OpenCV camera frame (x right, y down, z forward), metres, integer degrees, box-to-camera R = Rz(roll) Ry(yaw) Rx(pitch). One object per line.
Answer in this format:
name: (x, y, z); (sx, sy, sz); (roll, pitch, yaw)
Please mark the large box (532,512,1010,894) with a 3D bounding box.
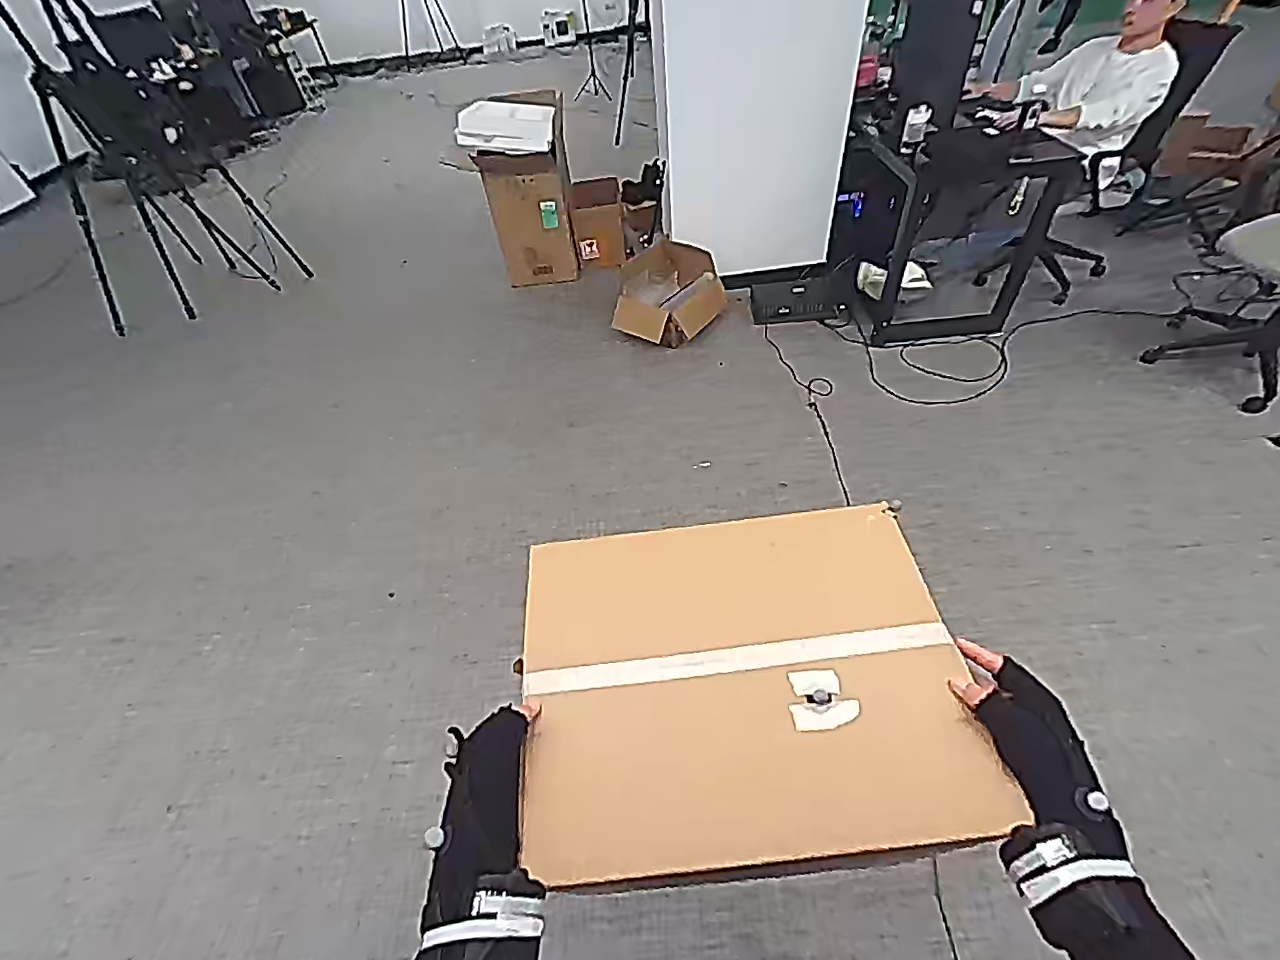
large box: (0.103, 0.273, 0.645); (0.408, 0.320, 0.320); (-7, 52, 0)
